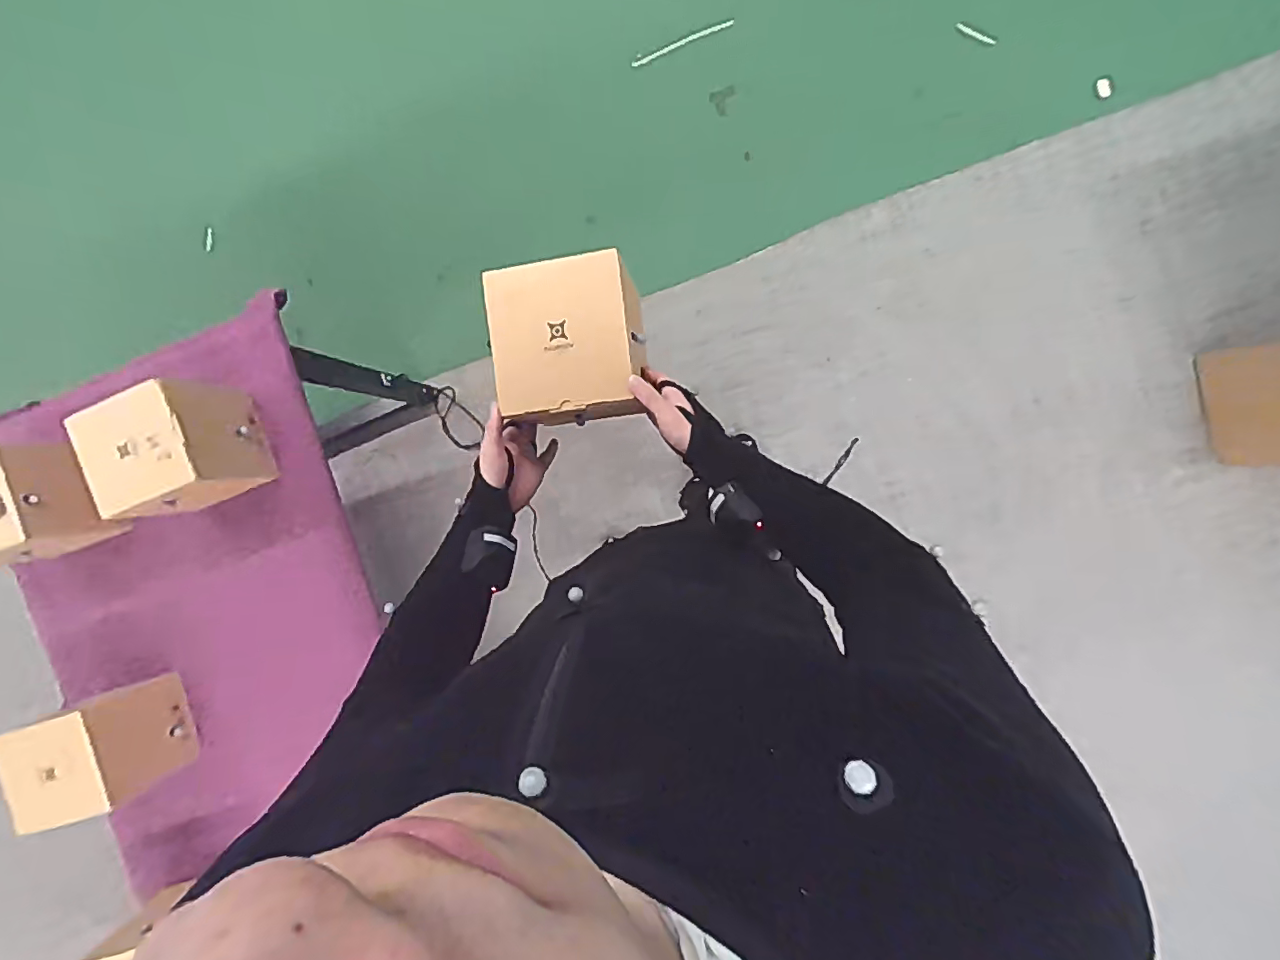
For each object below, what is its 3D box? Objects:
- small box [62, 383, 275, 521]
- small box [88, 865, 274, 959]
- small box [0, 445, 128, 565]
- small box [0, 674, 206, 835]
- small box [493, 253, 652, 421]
[{"bbox_3d":[-0.758,-0.045,0.888,0.179,0.176,0.168,-21,93,6],"label":"small box"},{"bbox_3d":[-0.776,0.813,0.934,0.179,0.176,0.168,-19,91,5],"label":"small box"},{"bbox_3d":[-1.048,0.046,0.920,0.179,0.176,0.168,-19,92,5],"label":"small box"},{"bbox_3d":[-0.914,0.461,0.931,0.179,0.176,0.168,-17,92,4],"label":"small box"},{"bbox_3d":[-0.078,-0.174,0.712,0.168,0.176,0.179,-6,95,6],"label":"small box"}]
